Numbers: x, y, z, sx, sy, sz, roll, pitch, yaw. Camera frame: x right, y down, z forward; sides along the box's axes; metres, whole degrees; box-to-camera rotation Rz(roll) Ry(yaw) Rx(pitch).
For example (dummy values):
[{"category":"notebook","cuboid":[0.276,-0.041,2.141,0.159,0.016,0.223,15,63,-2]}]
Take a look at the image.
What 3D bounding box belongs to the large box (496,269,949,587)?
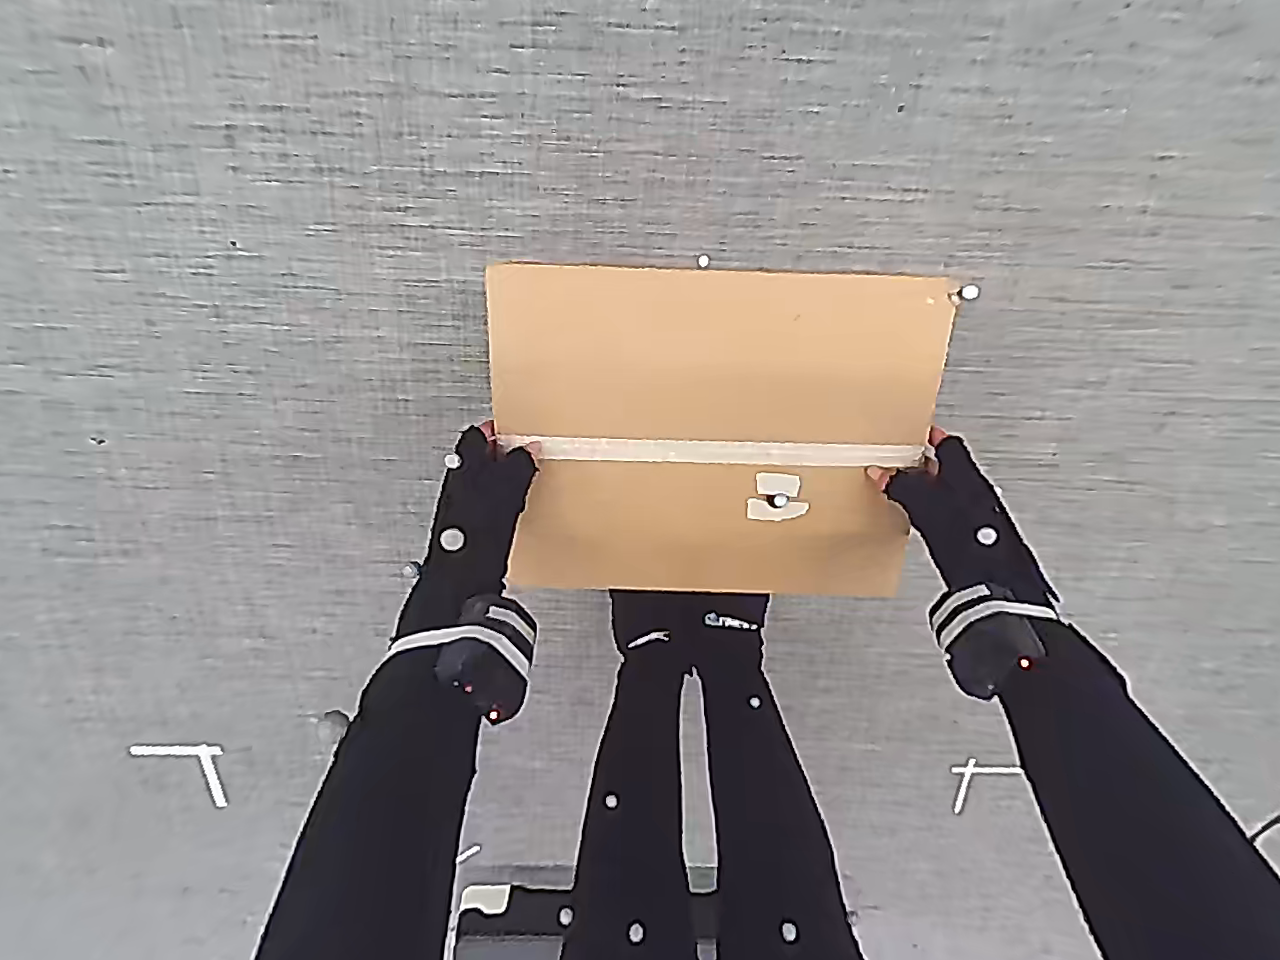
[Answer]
[{"category":"large box","cuboid":[0.069,-0.081,0.658,0.408,0.320,0.320,1,110,-1]}]
